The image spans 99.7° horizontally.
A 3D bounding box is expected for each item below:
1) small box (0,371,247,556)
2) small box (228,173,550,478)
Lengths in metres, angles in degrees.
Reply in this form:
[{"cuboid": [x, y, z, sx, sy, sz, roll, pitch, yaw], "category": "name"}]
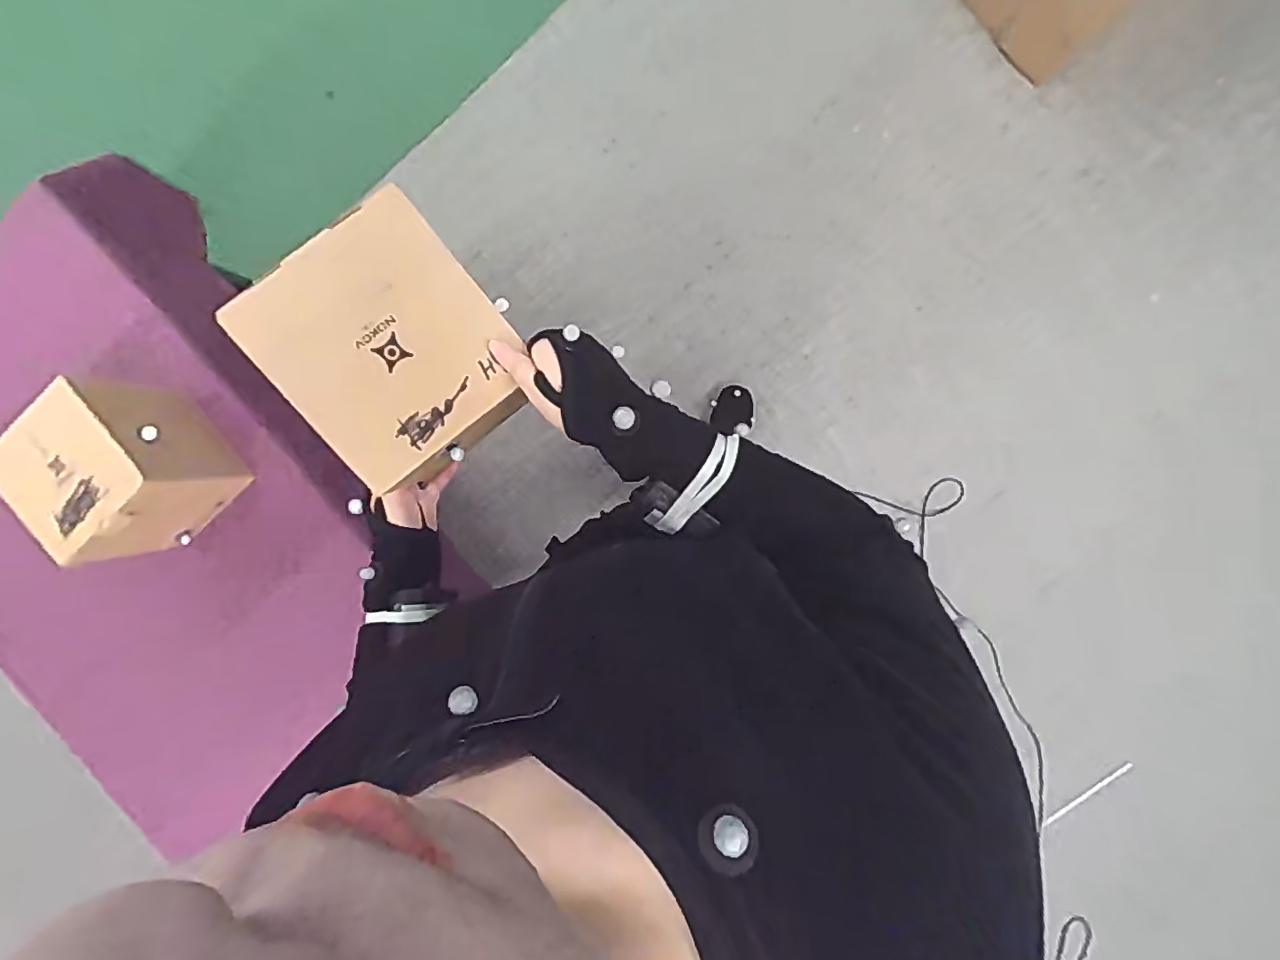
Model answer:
[{"cuboid": [-0.707, -0.025, 0.749, 0.168, 0.176, 0.179, -41, 88, 6], "category": "small box"}, {"cuboid": [-0.198, -0.122, 0.489, 0.168, 0.176, 0.179, -37, 99, -2], "category": "small box"}]
